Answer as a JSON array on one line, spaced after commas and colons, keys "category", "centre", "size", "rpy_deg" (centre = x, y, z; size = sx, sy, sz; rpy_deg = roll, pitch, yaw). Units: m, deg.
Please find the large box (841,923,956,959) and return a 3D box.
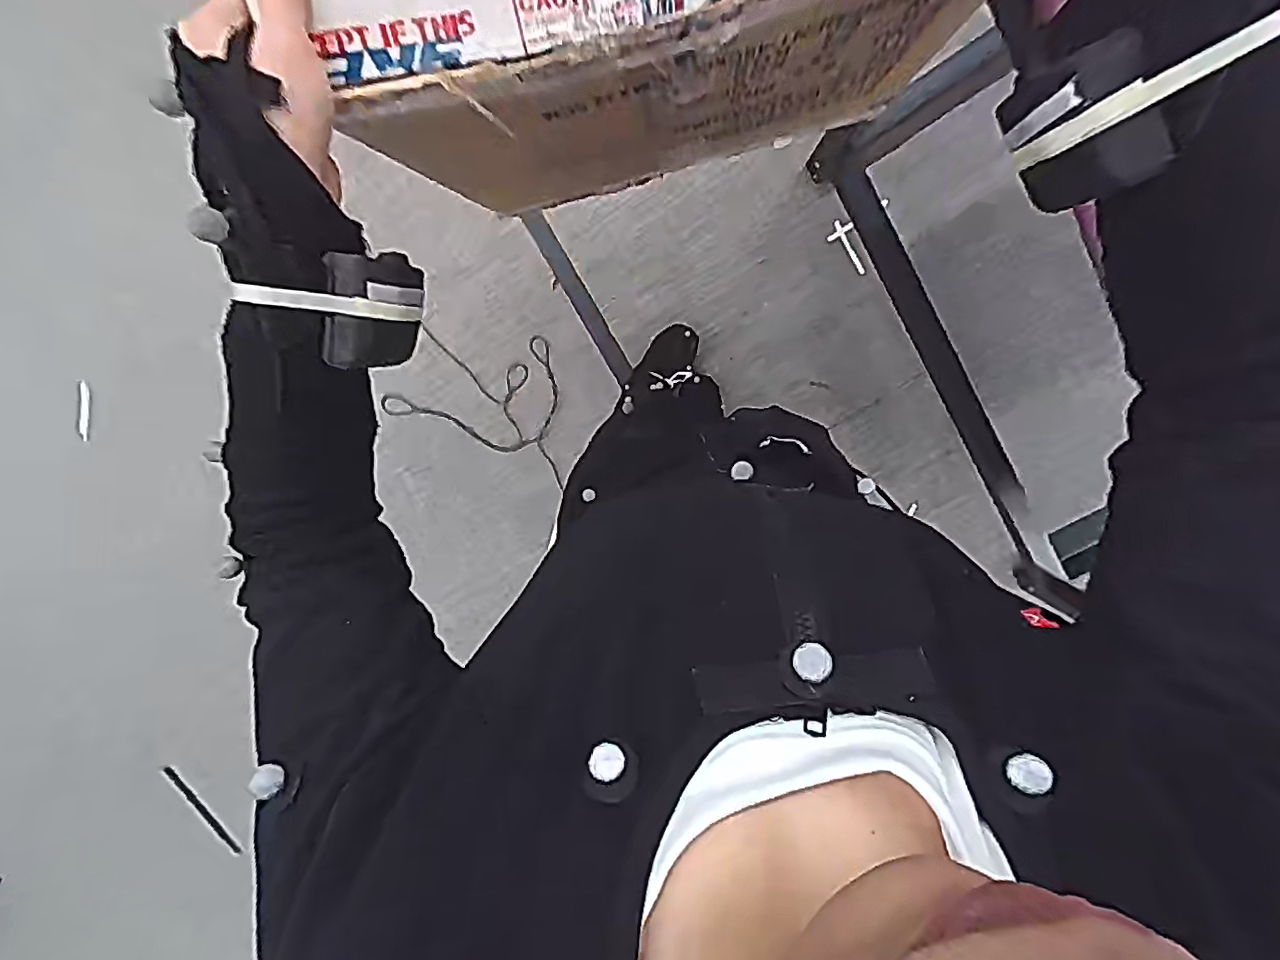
[{"category": "large box", "centre": [0.822, 1.563, 1.486], "size": [0.320, 0.320, 0.408], "rpy_deg": [-32, 96, 9]}]
